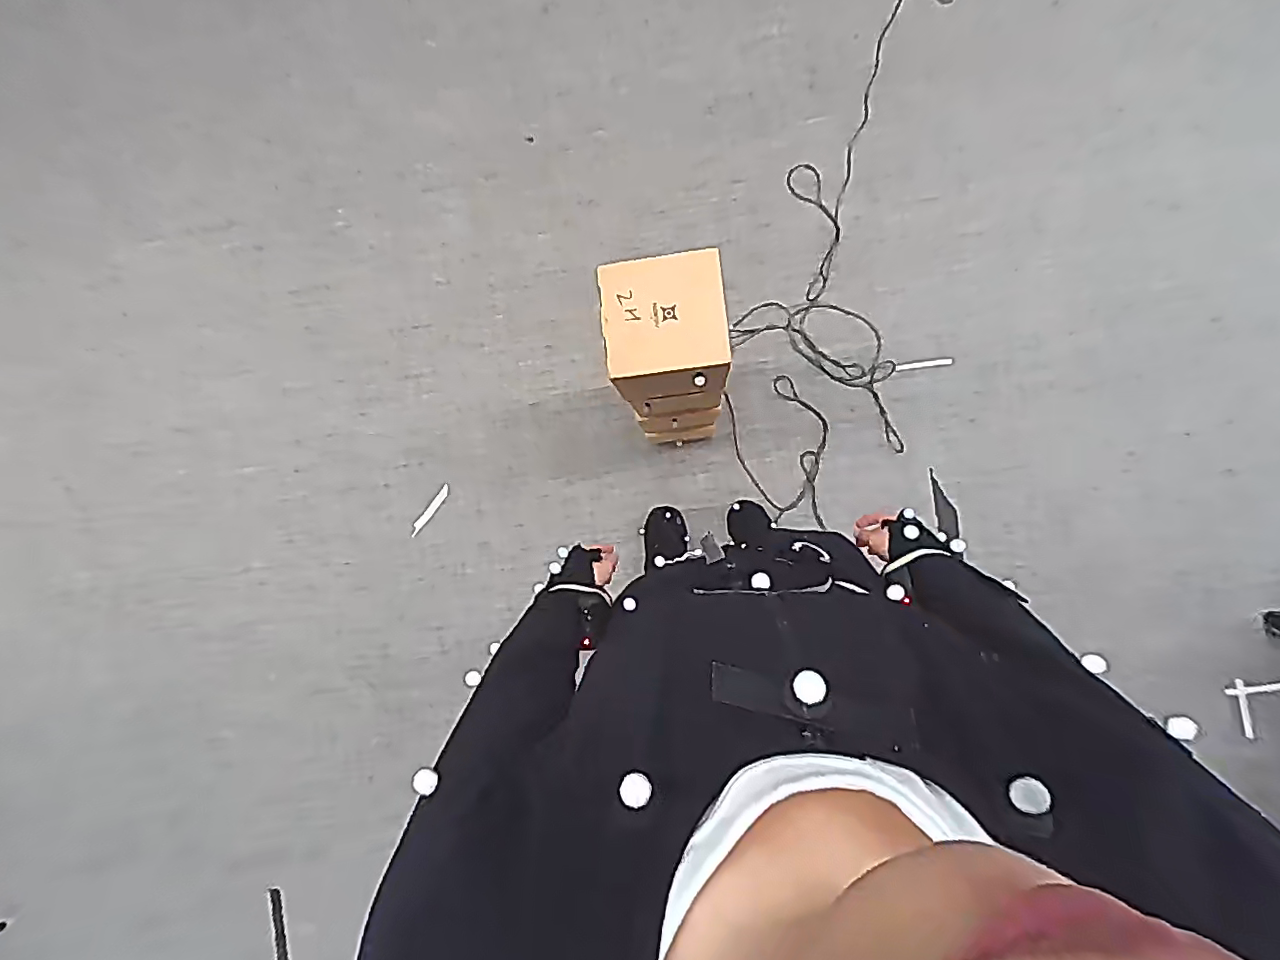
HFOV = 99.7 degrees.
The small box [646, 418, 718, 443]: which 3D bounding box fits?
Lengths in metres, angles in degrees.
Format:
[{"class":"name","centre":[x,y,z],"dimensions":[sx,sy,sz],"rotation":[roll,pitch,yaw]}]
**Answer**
[{"class":"small box","centre":[0.096,-0.192,1.321],"dimensions":[0.168,0.176,0.179],"rotation":[-7,88,6]}]

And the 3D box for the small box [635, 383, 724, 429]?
[{"class":"small box","centre":[0.080,-0.207,1.160],"dimensions":[0.179,0.176,0.168],"rotation":[-7,88,6]}]

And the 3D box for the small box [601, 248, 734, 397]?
[{"class":"small box","centre":[0.045,-0.230,0.832],"dimensions":[0.179,0.176,0.168],"rotation":[-6,86,7]}]
